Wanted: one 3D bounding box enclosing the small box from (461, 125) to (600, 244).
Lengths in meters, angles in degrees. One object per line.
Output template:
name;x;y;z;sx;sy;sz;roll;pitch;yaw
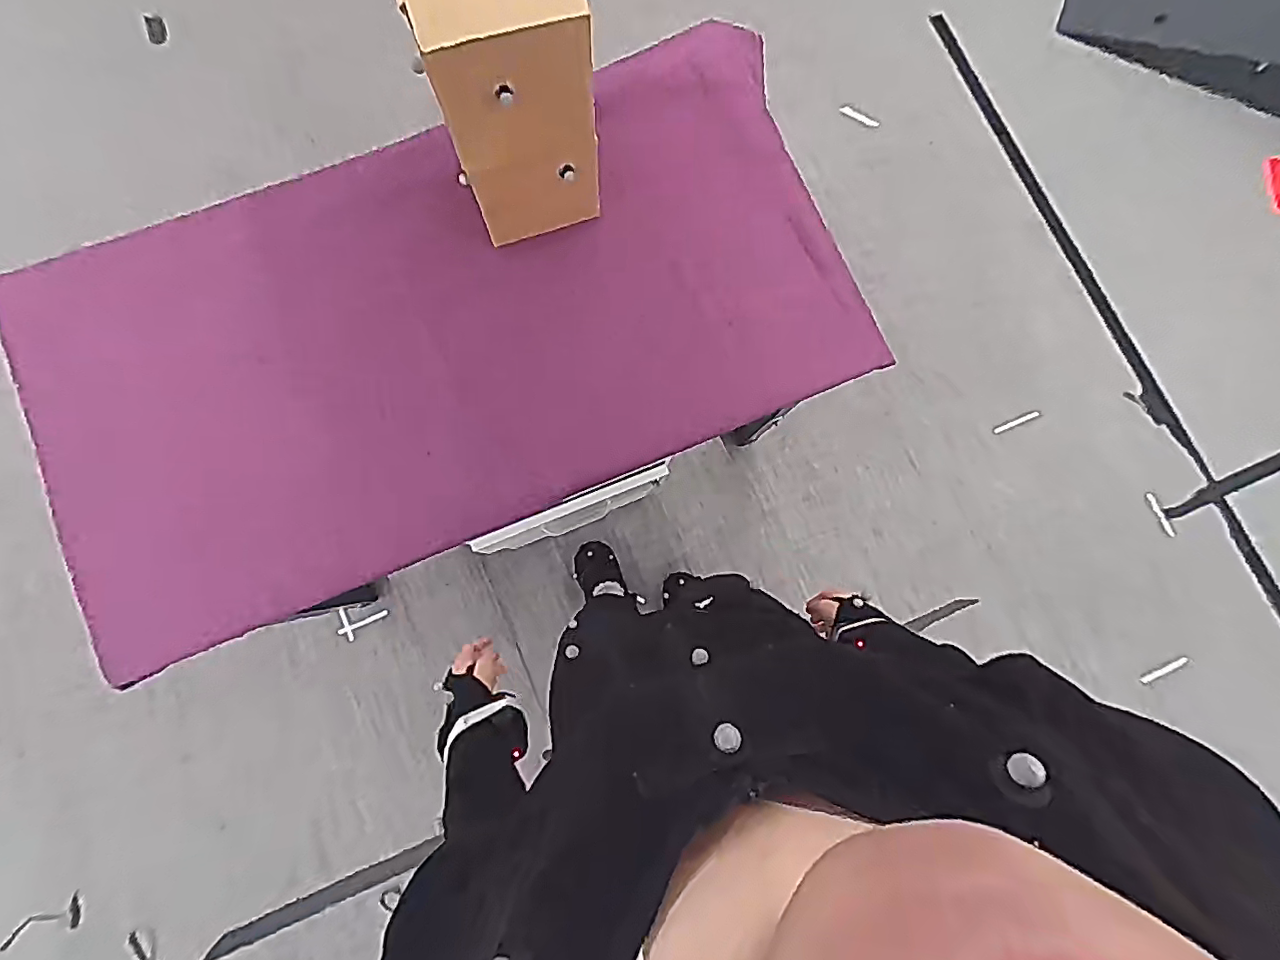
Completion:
small box;-0.164;-0.475;0.775;0.179;0.176;0.168;-19;84;-5

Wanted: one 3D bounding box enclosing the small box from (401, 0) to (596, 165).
small box;-0.157;-0.498;0.613;0.179;0.176;0.168;-18;84;-4
